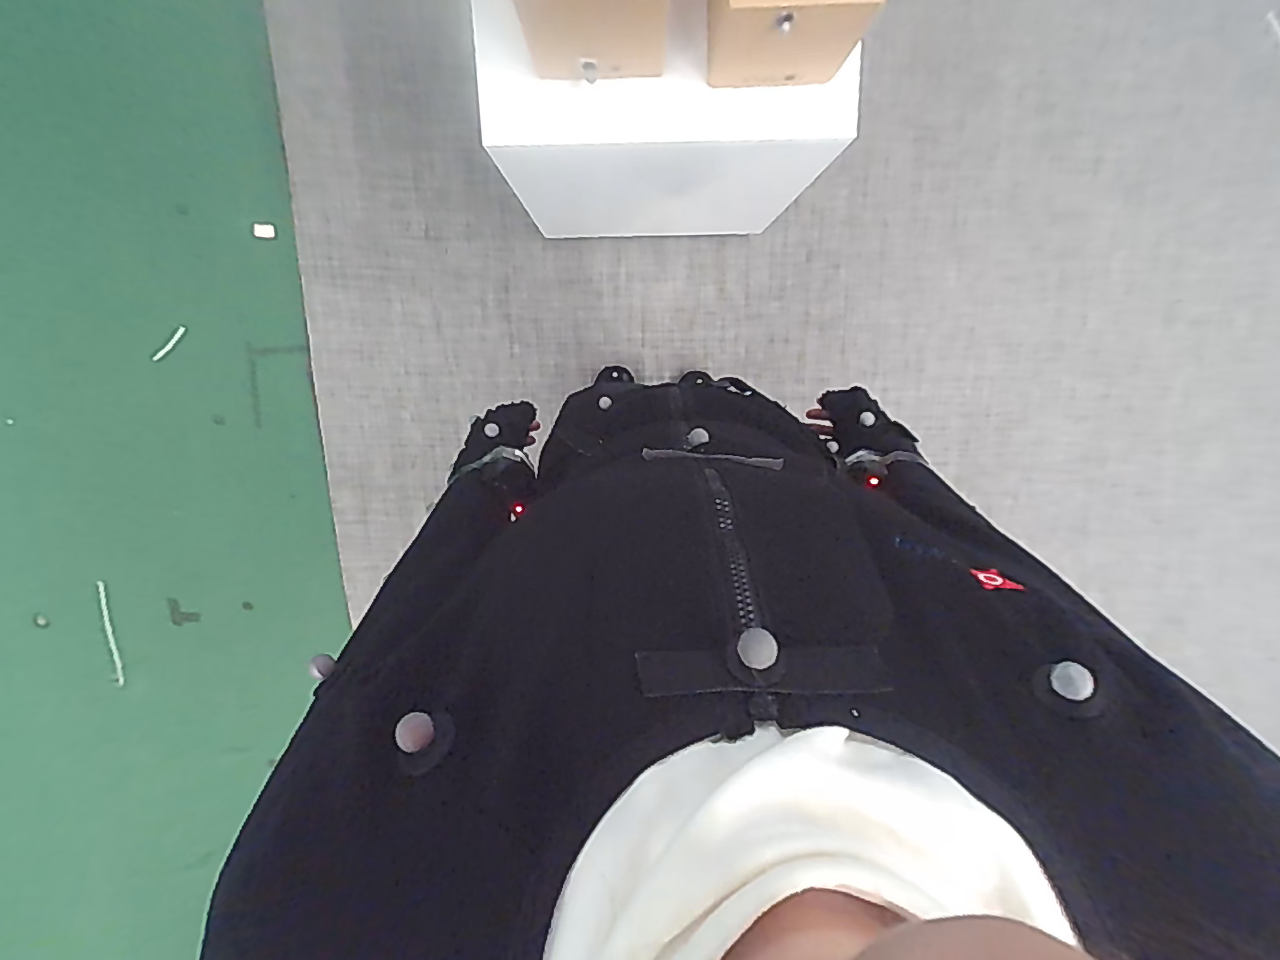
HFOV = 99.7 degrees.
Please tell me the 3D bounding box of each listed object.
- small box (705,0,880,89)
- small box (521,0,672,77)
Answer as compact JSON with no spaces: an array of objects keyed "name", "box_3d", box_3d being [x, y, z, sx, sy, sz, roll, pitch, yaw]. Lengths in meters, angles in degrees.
[{"name":"small box","box_3d":[0.167,-0.594,0.625,0.168,0.176,0.179,-2,101,-1]},{"name":"small box","box_3d":[-0.053,-0.597,0.608,0.168,0.176,0.179,-3,103,0]}]
